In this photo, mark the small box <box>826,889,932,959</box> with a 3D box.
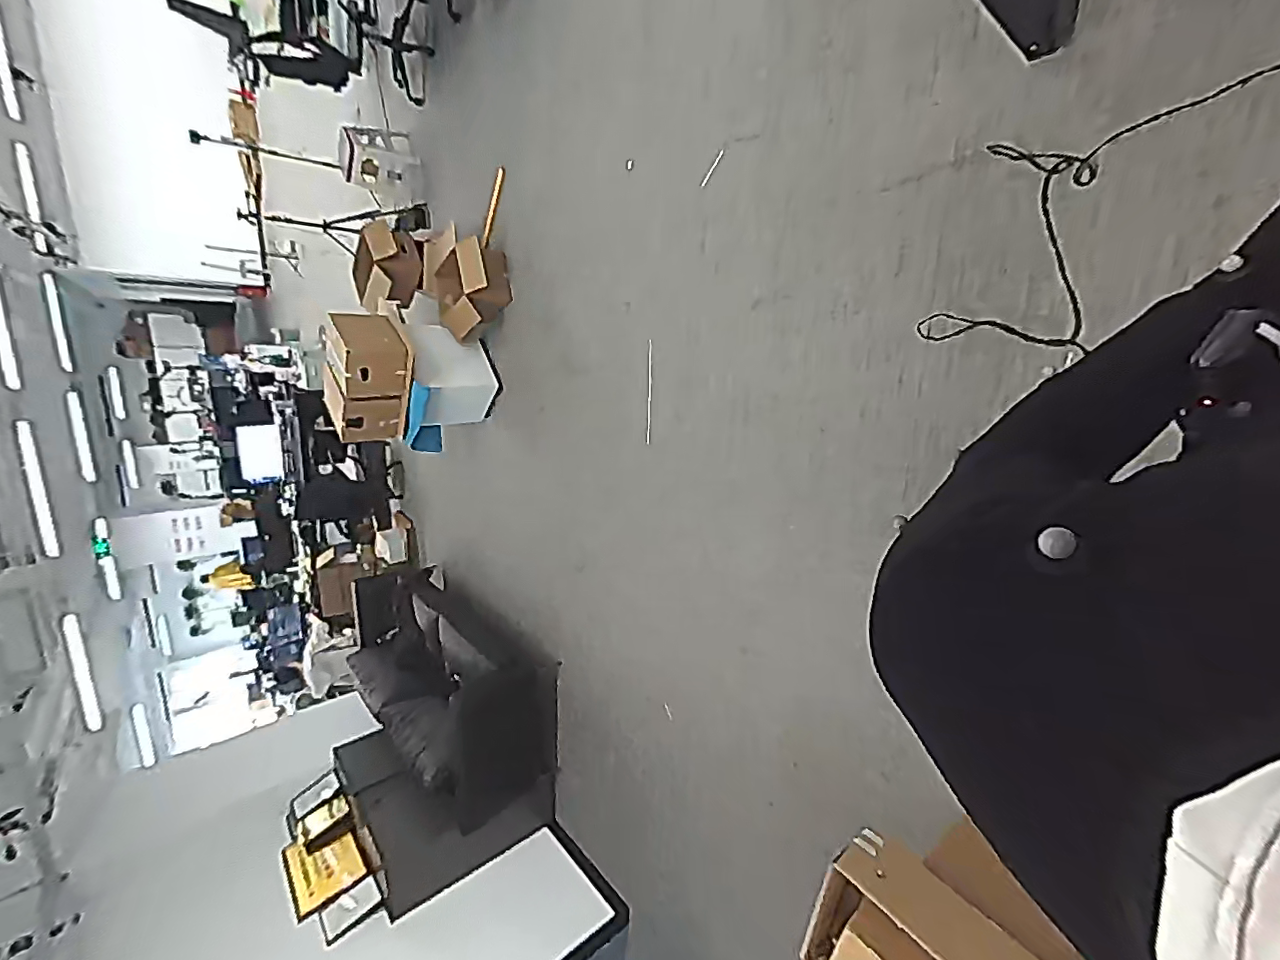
[{"bbox_3d":[0.591,1.182,1.341,0.168,0.176,0.179,30,119,41],"label":"small box"}]
